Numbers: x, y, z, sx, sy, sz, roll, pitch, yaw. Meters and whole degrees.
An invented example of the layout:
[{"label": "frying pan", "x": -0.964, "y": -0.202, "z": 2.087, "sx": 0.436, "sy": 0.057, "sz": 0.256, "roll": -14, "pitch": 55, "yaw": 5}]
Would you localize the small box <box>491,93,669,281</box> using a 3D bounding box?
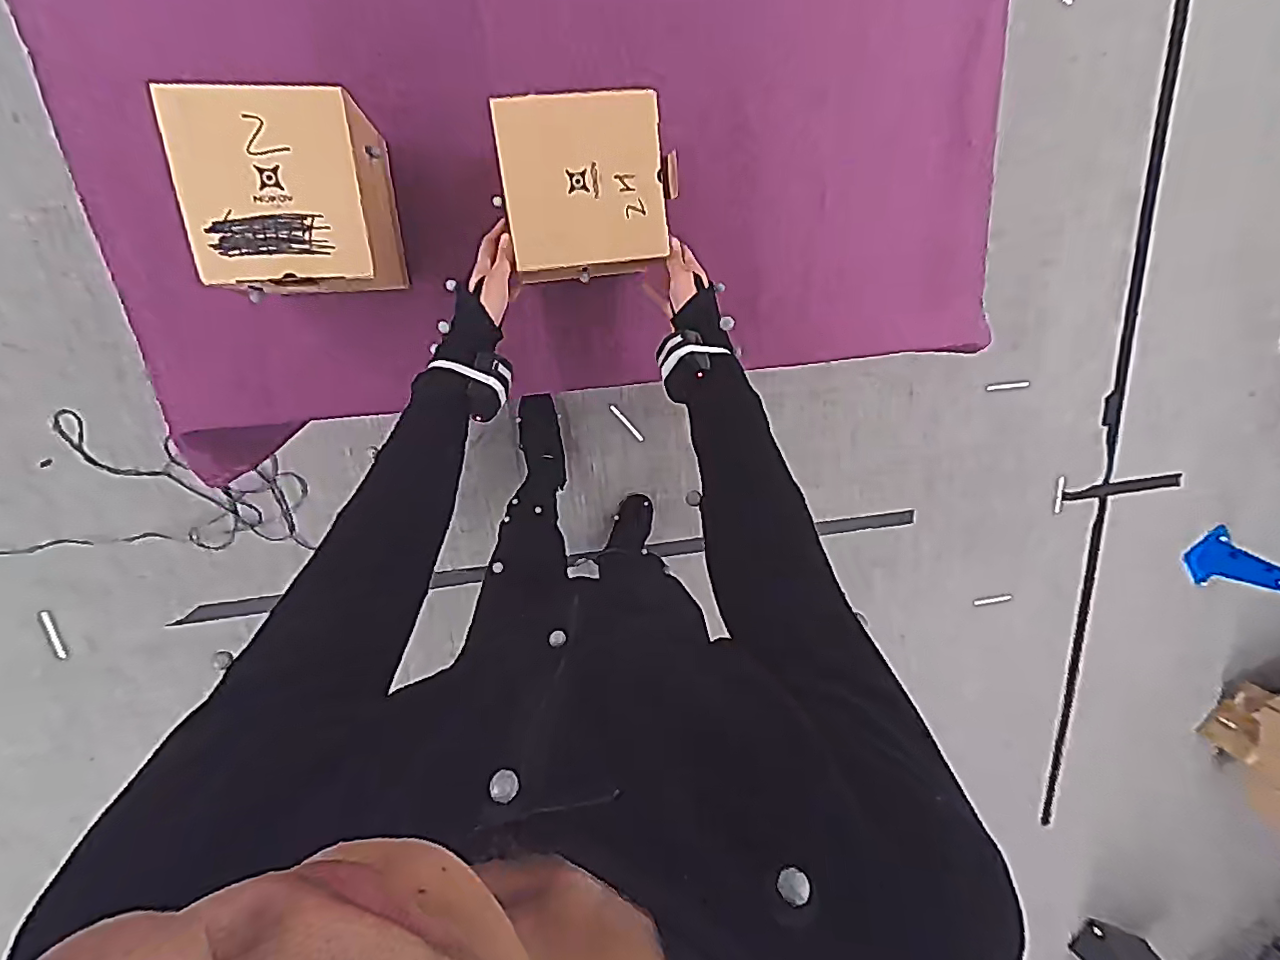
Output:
[{"label": "small box", "x": -0.074, "y": -0.341, "z": 0.660, "sx": 0.179, "sy": 0.176, "sz": 0.168, "roll": -9, "pitch": 108, "yaw": -9}]
